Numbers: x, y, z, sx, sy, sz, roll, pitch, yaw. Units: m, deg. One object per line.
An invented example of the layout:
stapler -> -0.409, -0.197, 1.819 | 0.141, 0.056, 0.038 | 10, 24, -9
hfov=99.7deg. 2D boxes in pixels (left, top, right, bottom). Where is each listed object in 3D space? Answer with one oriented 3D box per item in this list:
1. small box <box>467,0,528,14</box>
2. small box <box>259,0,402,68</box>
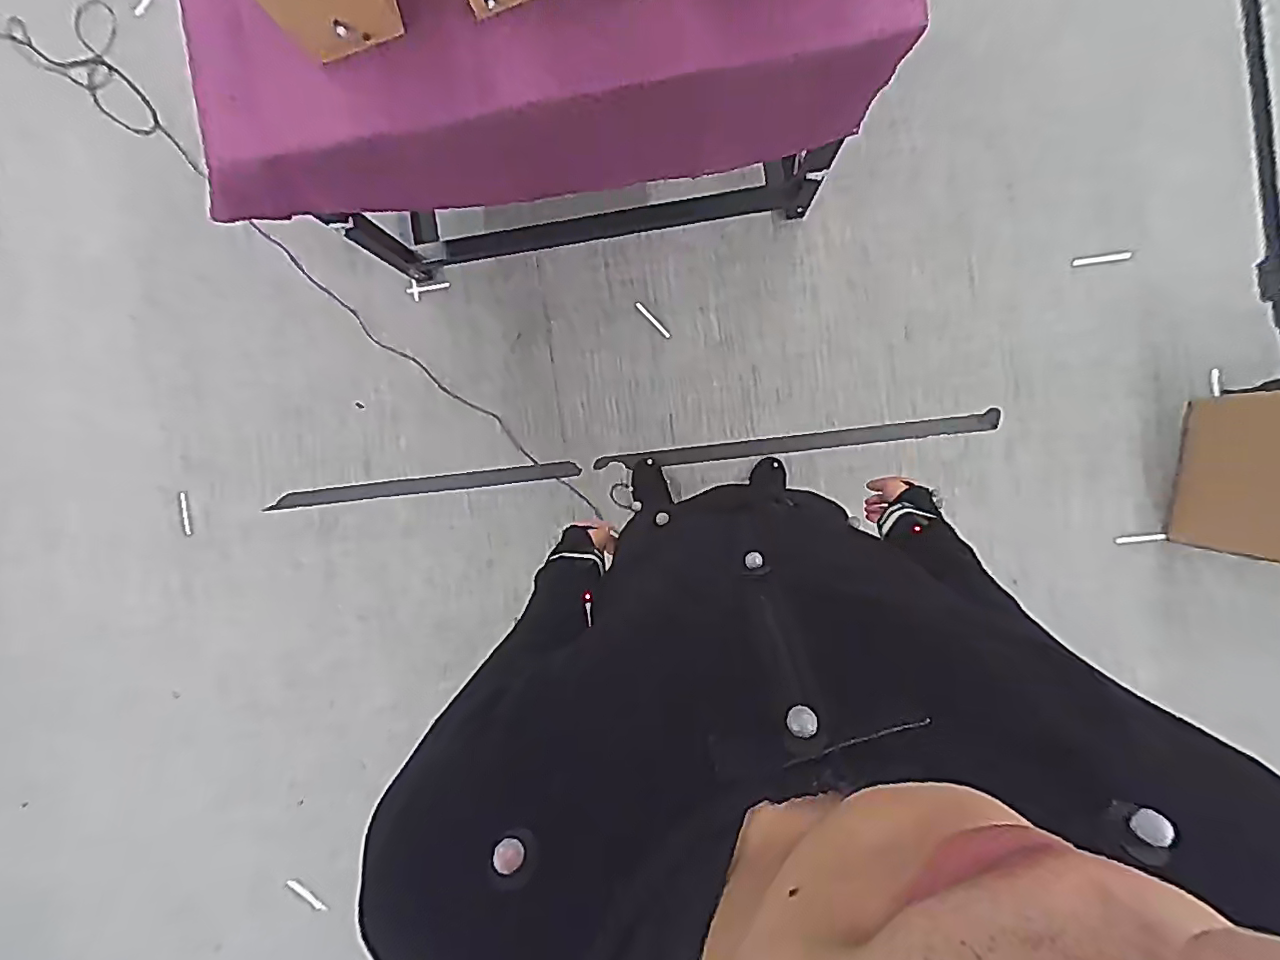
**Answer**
small box -> -0.224, -0.856, 0.808 | 0.168, 0.176, 0.179 | -18, 90, 5
small box -> -0.500, -0.796, 0.830 | 0.168, 0.176, 0.179 | -16, 91, 5
